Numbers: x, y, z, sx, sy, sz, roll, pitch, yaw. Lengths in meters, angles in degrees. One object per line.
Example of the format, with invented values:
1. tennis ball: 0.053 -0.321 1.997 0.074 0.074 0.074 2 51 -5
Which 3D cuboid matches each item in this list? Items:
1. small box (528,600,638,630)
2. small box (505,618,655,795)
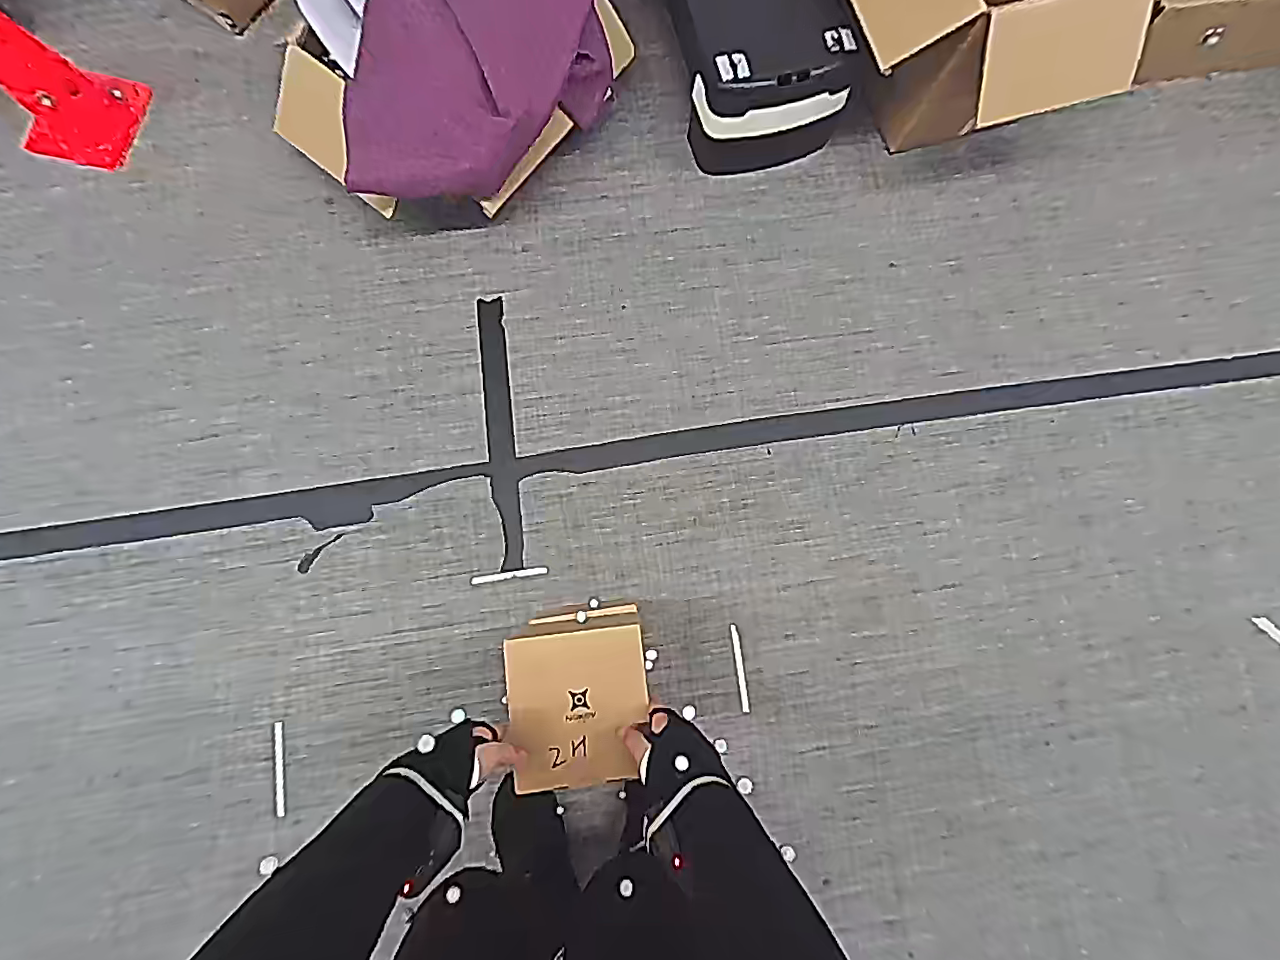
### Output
1. small box: -0.078 0.300 0.879 0.168 0.176 0.179 -8 82 -3
2. small box: -0.075 0.281 0.713 0.168 0.176 0.179 -7 82 -2
